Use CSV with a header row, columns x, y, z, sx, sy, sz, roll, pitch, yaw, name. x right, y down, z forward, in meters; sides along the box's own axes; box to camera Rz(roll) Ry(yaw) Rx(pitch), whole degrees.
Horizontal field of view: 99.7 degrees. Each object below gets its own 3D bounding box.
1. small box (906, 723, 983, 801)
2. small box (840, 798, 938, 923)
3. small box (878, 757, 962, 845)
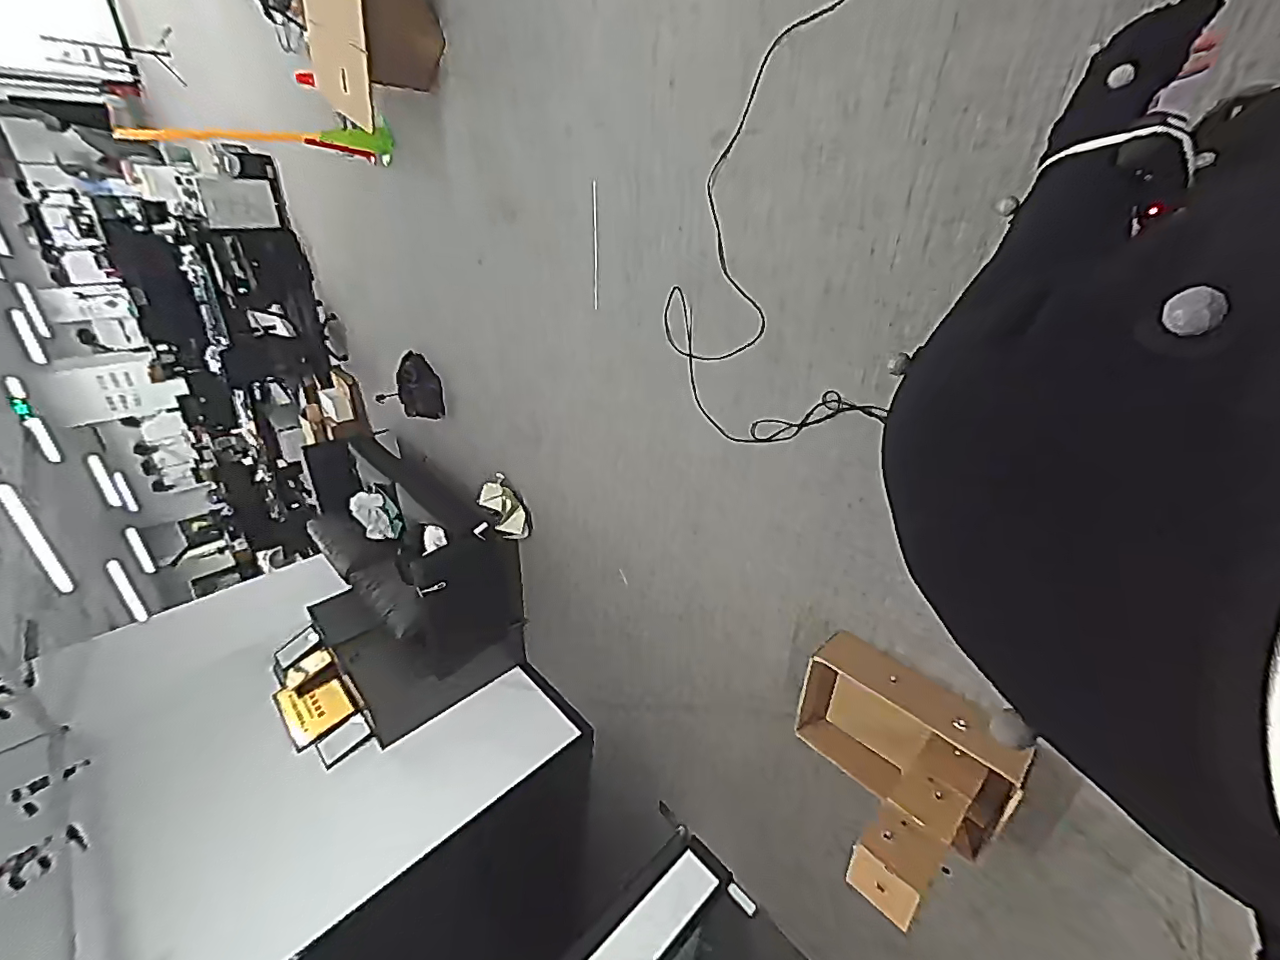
x,y,z,sx,sy,sz,roll,pitch,yaw,name
0.894,0.876,1.620,0.168,0.176,0.179,29,130,38,small box
0.658,0.992,1.426,0.168,0.176,0.179,27,129,41,small box
0.775,0.932,1.523,0.168,0.176,0.179,28,129,39,small box
